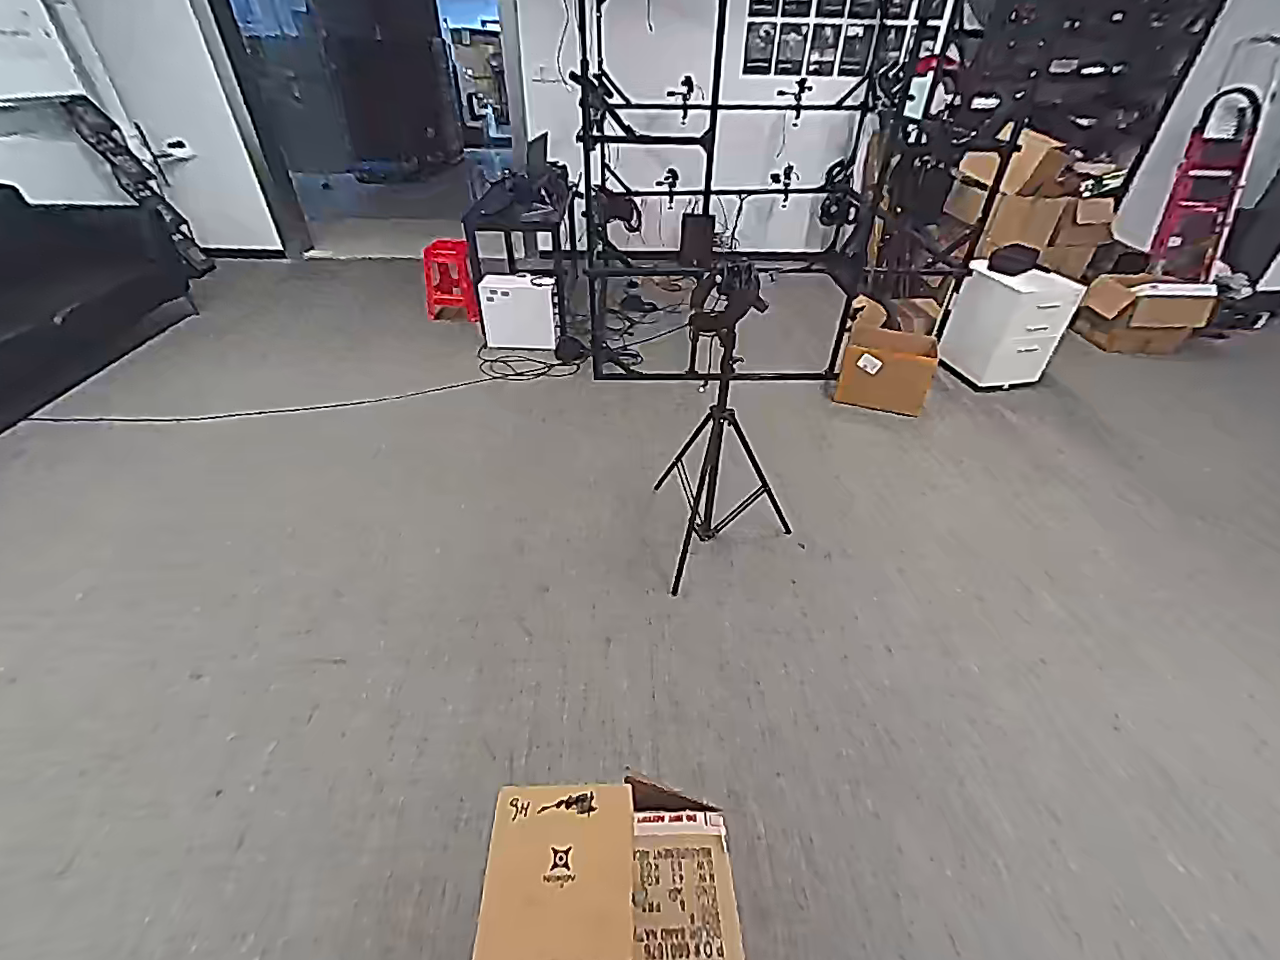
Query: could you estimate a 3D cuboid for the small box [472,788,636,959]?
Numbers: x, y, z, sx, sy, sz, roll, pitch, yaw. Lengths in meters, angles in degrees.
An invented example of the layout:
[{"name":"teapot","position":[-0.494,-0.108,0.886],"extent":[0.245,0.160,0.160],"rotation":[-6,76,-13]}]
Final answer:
[{"name":"small box","position":[-0.089,0.497,0.653],"extent":[0.168,0.176,0.179],"rotation":[-1,41,-1]}]
